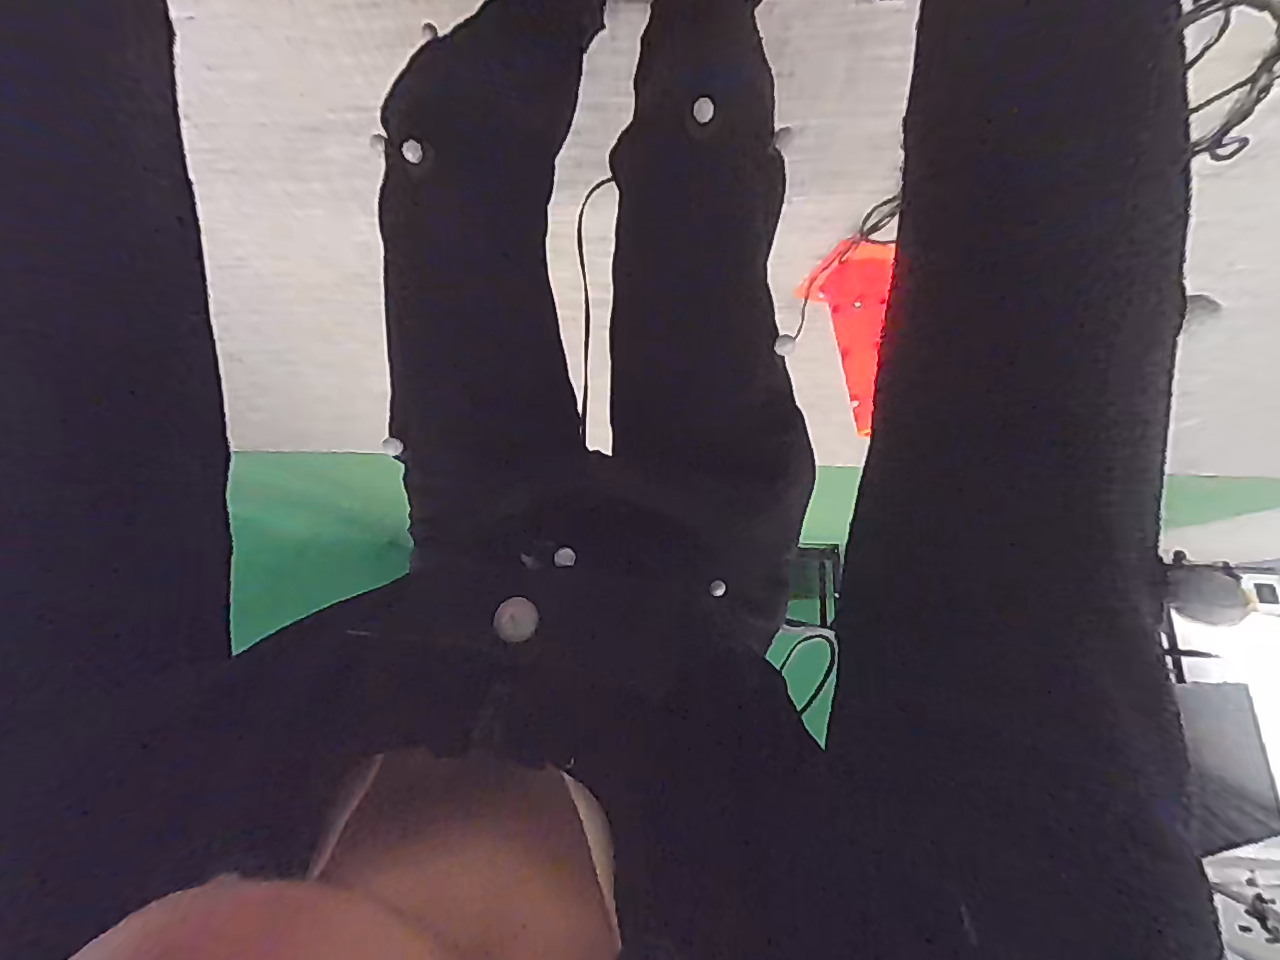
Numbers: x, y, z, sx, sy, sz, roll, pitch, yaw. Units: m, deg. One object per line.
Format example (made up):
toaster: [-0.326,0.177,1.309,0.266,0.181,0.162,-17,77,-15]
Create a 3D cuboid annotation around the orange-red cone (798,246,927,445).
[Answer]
orange-red cone: [0.450,-0.244,1.076,0.199,0.360,0.198,6,165,-15]
